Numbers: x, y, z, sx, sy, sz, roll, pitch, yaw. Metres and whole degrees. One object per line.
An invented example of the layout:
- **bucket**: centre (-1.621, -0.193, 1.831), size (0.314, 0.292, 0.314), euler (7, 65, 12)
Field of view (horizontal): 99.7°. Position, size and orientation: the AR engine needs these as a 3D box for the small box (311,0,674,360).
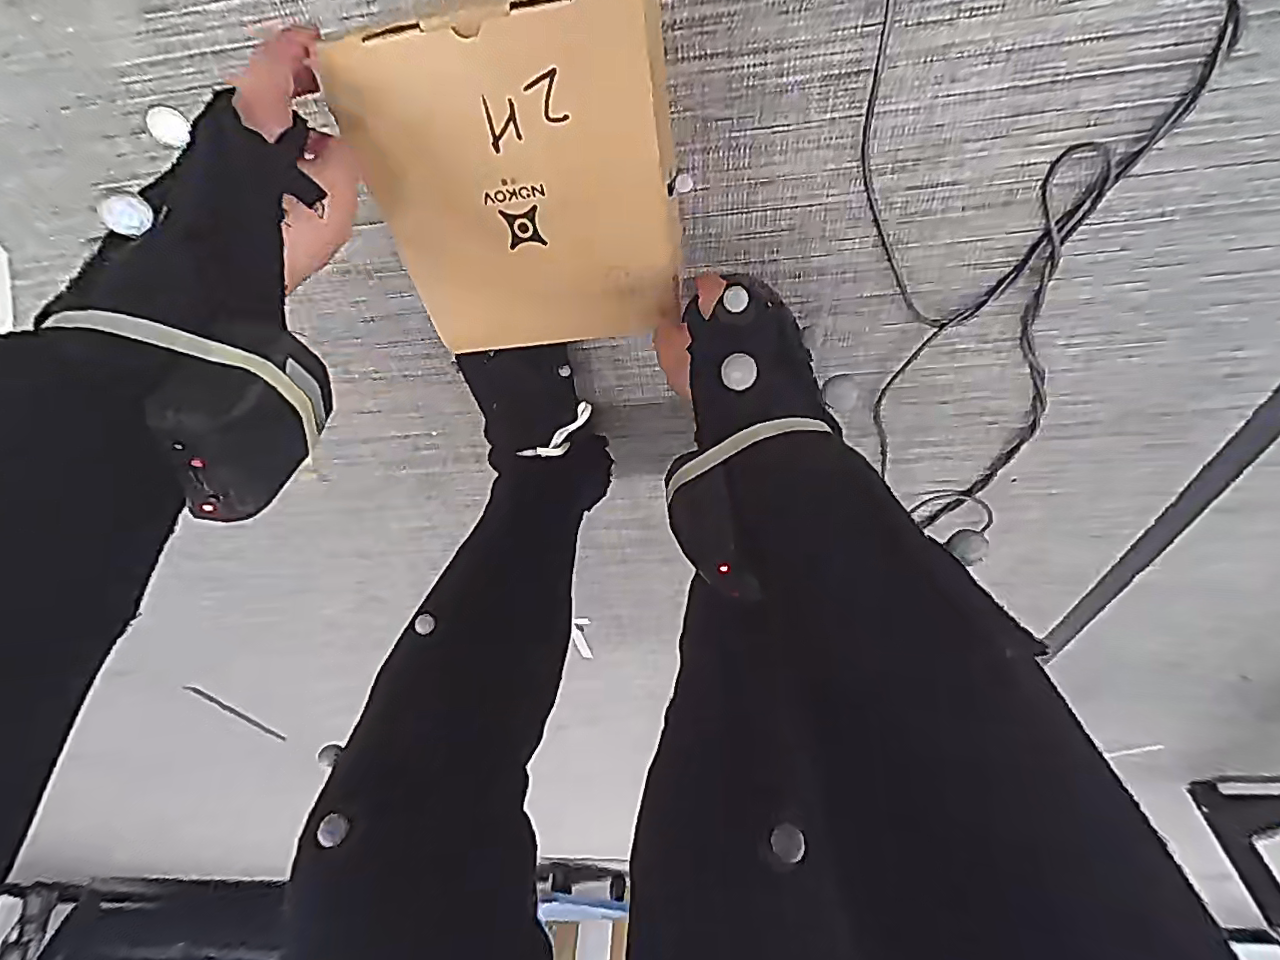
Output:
- **small box**: centre (-0.066, -0.207, 0.367), size (0.168, 0.176, 0.179), euler (-5, 136, 8)
